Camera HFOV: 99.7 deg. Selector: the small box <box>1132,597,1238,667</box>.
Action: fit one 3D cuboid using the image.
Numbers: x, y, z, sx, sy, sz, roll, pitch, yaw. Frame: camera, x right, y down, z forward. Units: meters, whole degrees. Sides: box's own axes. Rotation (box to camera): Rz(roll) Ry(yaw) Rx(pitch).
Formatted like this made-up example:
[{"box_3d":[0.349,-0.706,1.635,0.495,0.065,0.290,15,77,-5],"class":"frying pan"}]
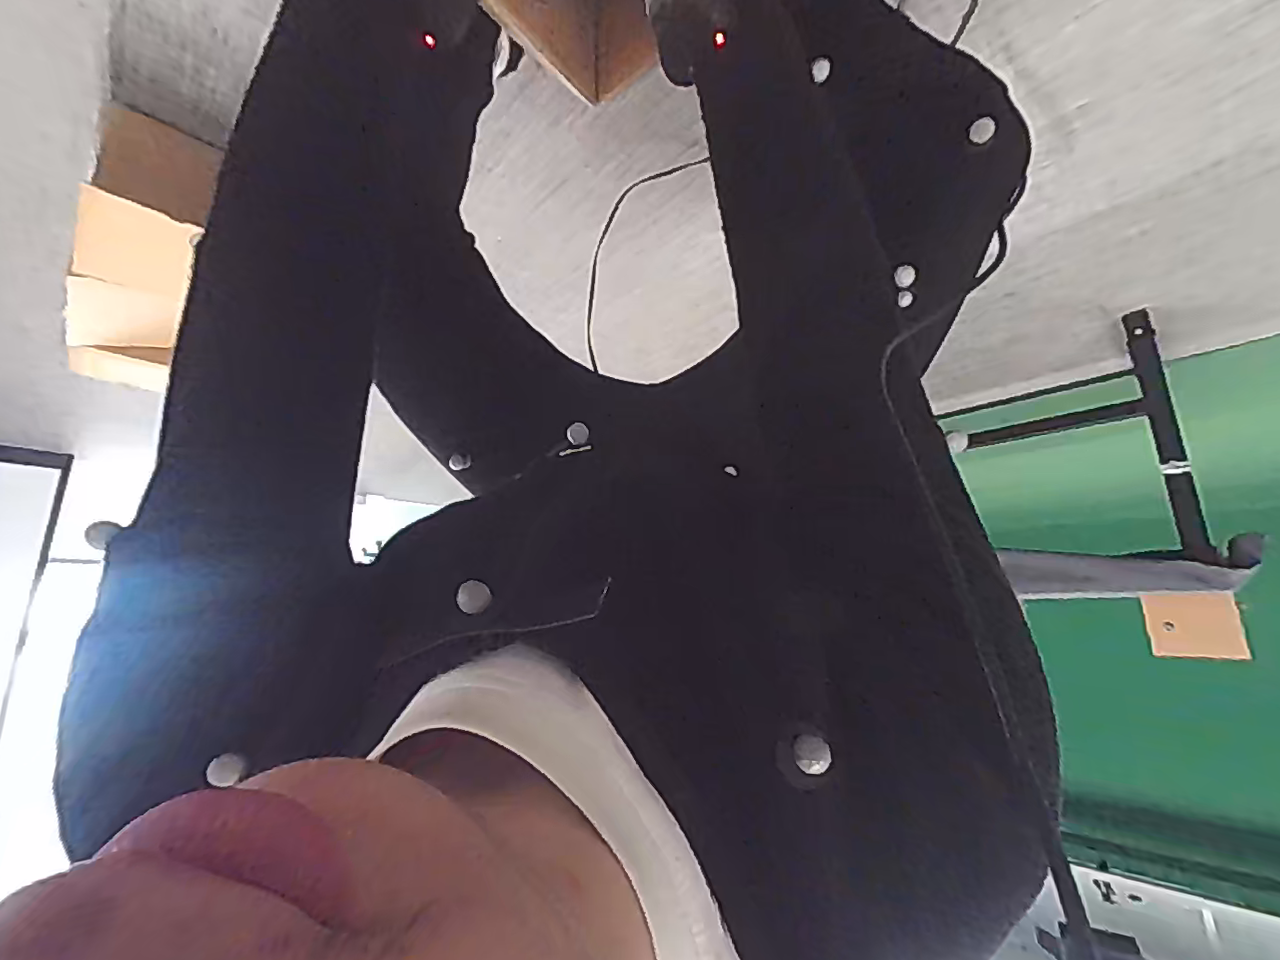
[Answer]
[{"box_3d":[1.460,0.406,1.455,0.168,0.176,0.179,11,161,-40],"class":"small box"}]
